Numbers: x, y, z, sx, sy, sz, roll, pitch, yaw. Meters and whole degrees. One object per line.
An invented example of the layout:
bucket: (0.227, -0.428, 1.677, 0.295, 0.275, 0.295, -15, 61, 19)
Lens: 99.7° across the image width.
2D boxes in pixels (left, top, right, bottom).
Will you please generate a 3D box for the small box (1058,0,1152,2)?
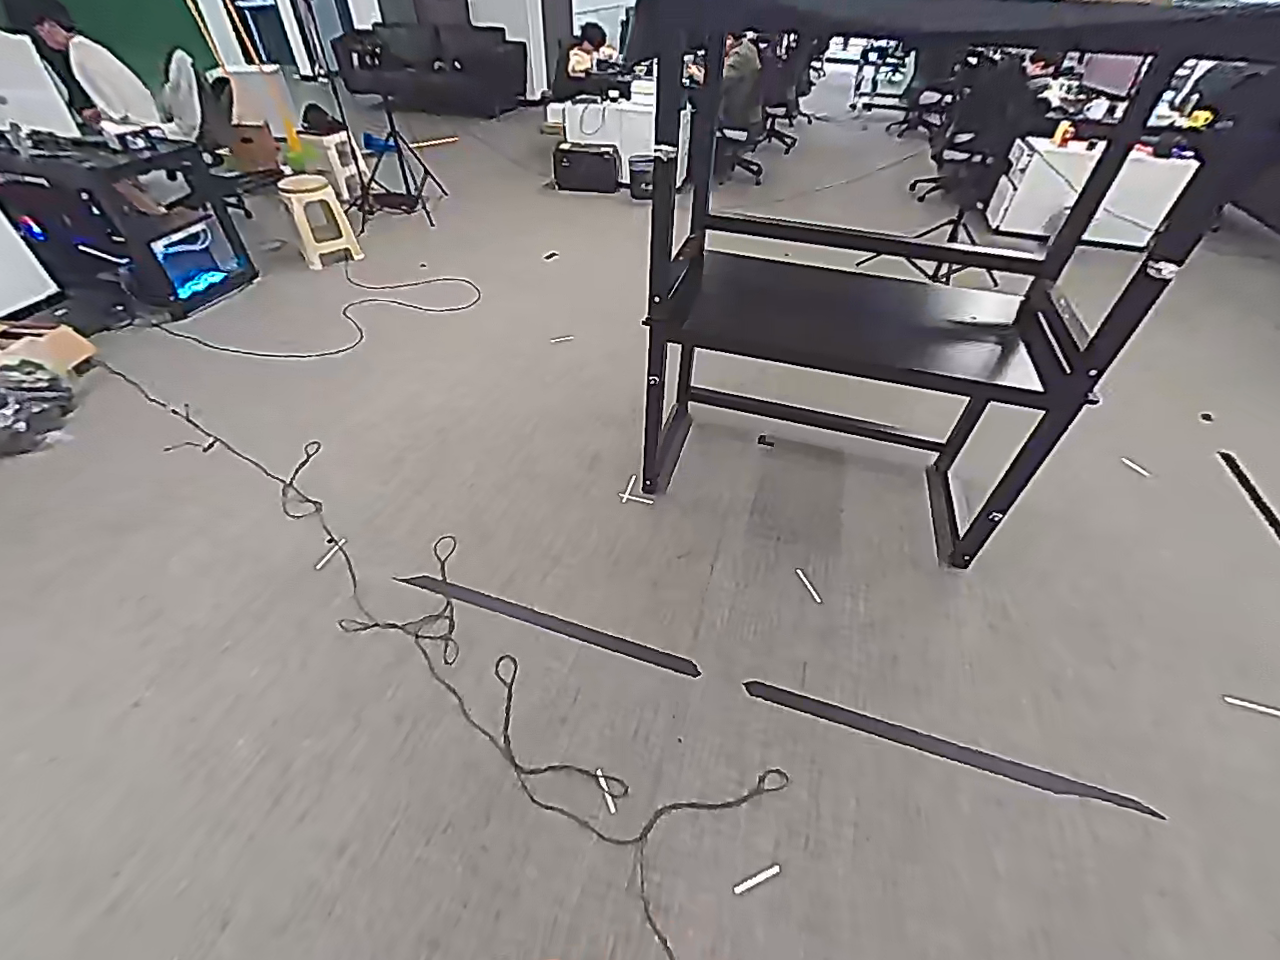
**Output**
small box: (0.873, -0.967, 0.964, 0.168, 0.176, 0.179, 16, 44, 14)
